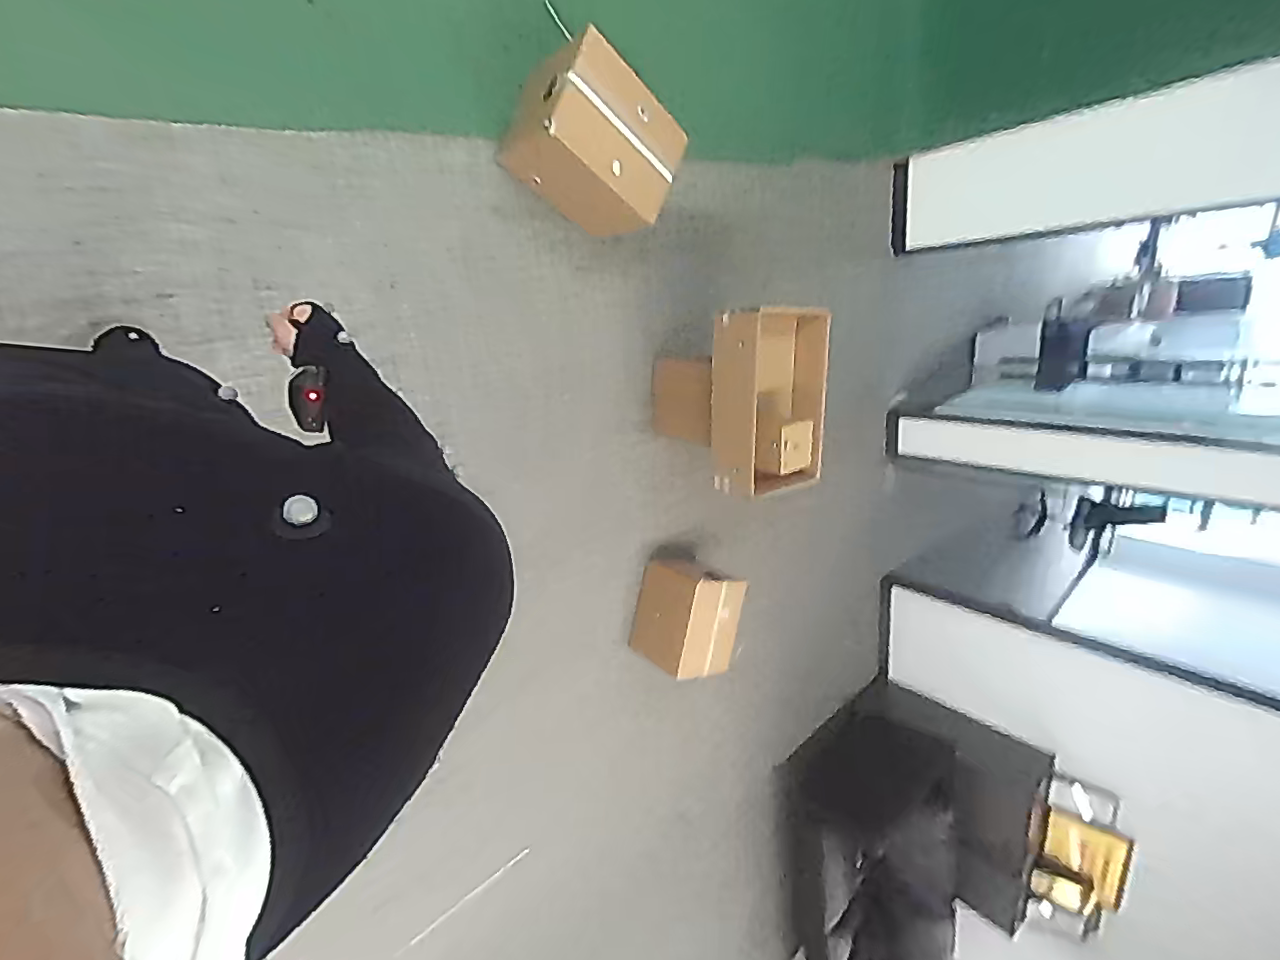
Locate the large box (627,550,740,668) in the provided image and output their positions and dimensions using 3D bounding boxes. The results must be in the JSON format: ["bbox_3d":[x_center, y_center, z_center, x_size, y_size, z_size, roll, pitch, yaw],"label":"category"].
[{"bbox_3d":[0.180,0.535,2.319,0.320,0.320,0.408,7,95,-42],"label":"large box"}]
